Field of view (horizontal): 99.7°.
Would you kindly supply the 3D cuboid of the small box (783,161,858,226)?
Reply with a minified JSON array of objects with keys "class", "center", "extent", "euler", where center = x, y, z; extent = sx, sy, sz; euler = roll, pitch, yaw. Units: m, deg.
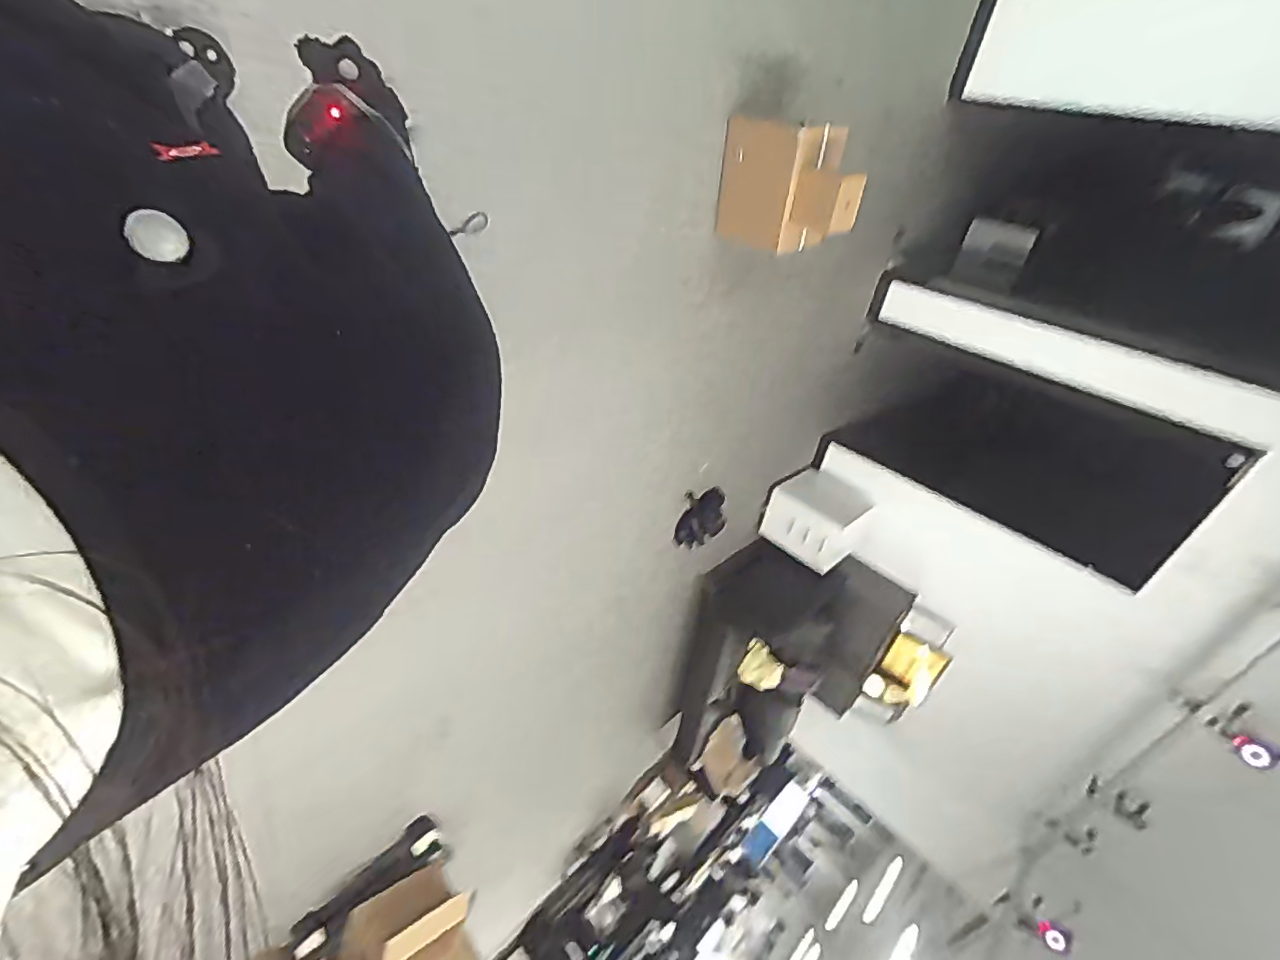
[{"class":"small box","center":[0.628,-1.011,1.896],"extent":[0.168,0.176,0.179],"euler":[-27,139,-34]}]
